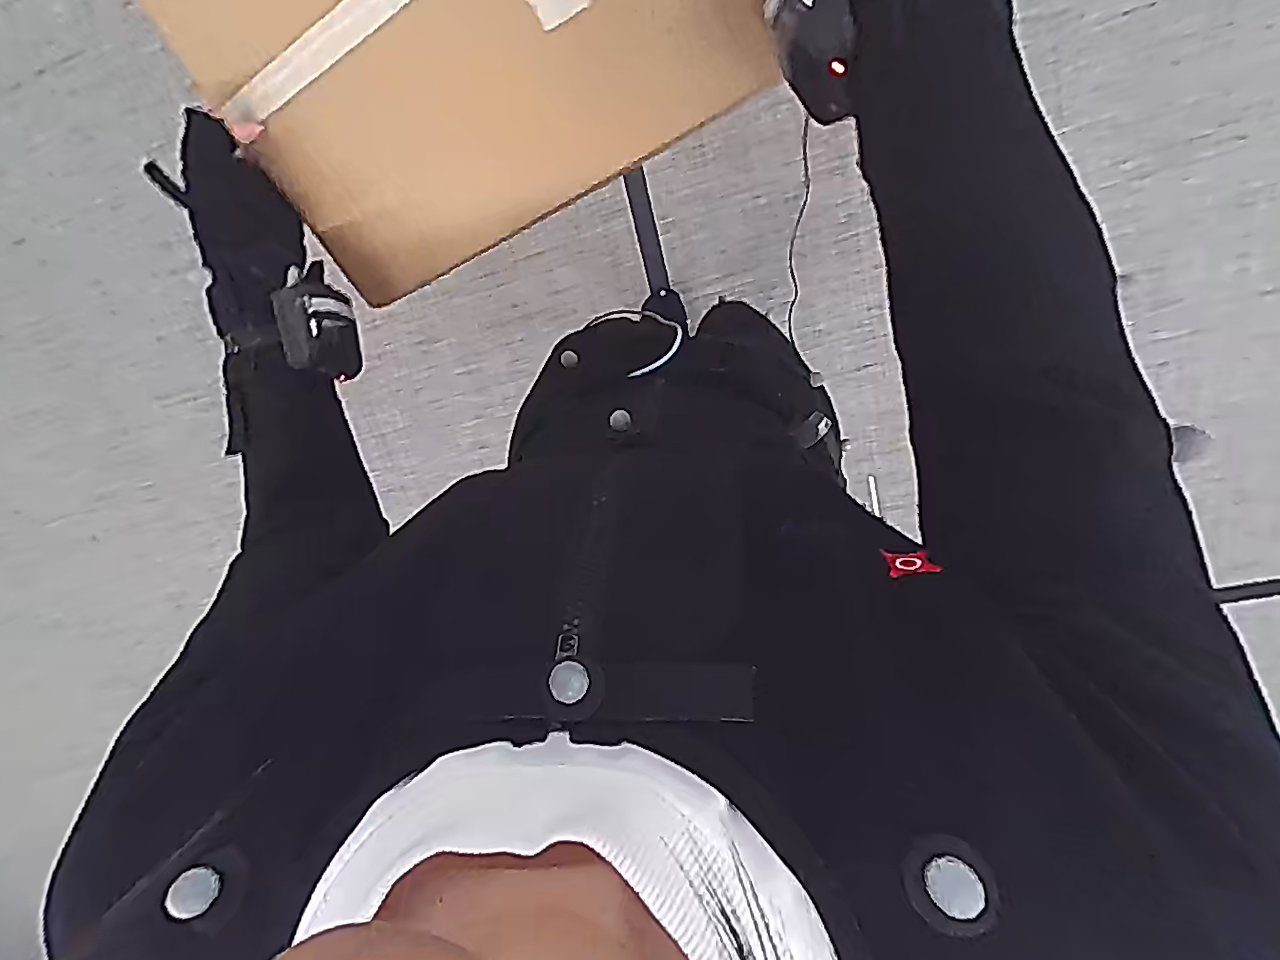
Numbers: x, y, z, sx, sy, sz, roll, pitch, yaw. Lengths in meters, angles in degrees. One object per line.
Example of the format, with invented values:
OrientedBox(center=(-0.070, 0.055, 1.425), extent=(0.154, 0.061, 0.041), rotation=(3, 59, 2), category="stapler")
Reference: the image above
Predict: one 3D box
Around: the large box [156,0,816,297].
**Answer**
OrientedBox(center=(-0.114, -0.426, 0.470), extent=(0.408, 0.320, 0.320), rotation=(-22, 119, 20), category="large box")
